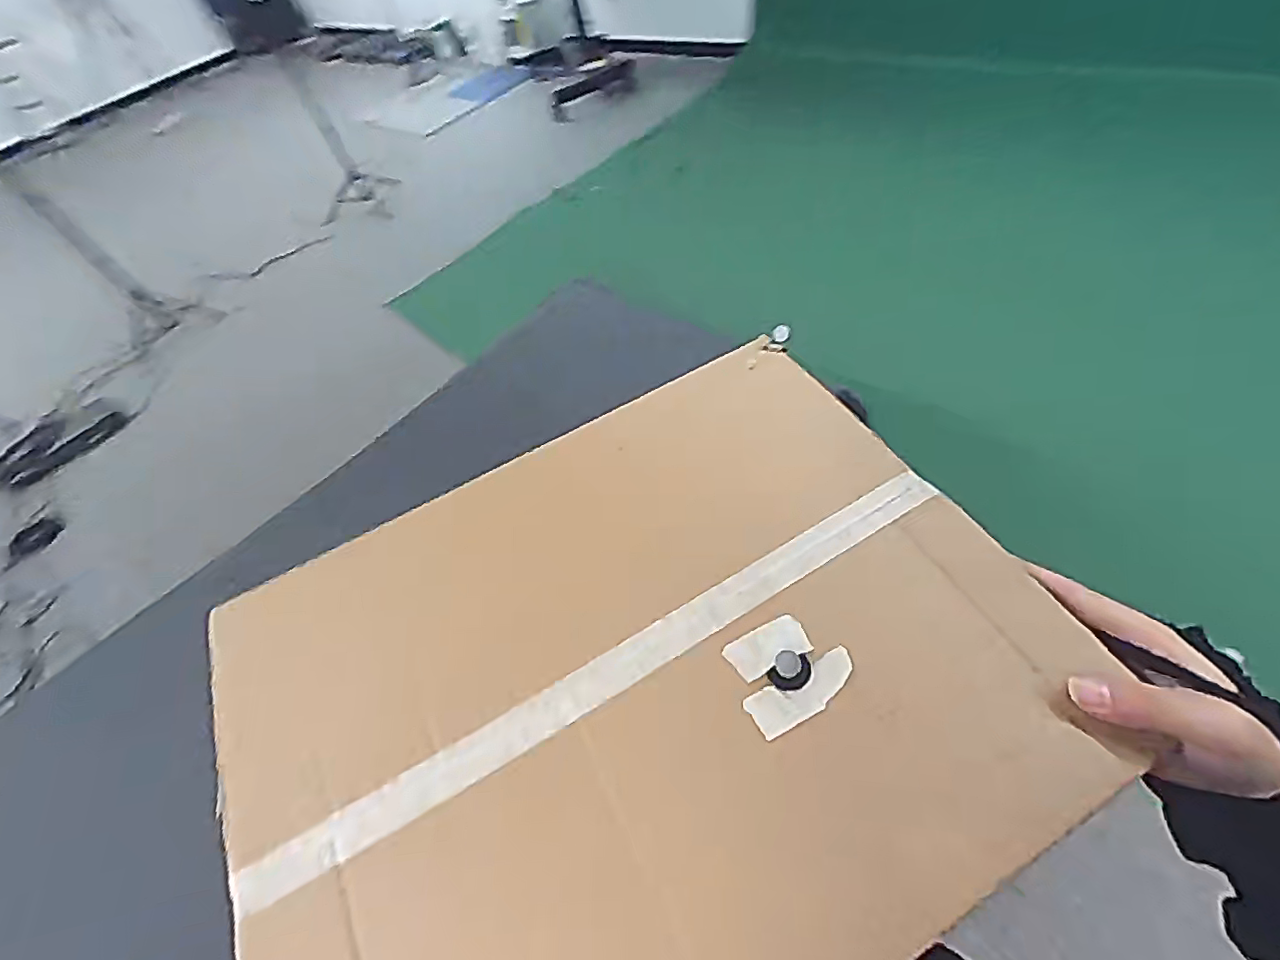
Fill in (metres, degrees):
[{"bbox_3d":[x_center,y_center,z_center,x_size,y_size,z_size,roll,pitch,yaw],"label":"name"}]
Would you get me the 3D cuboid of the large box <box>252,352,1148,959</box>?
[{"bbox_3d":[0.016,0.179,0.420,0.408,0.320,0.320,-27,59,-12],"label":"large box"}]
